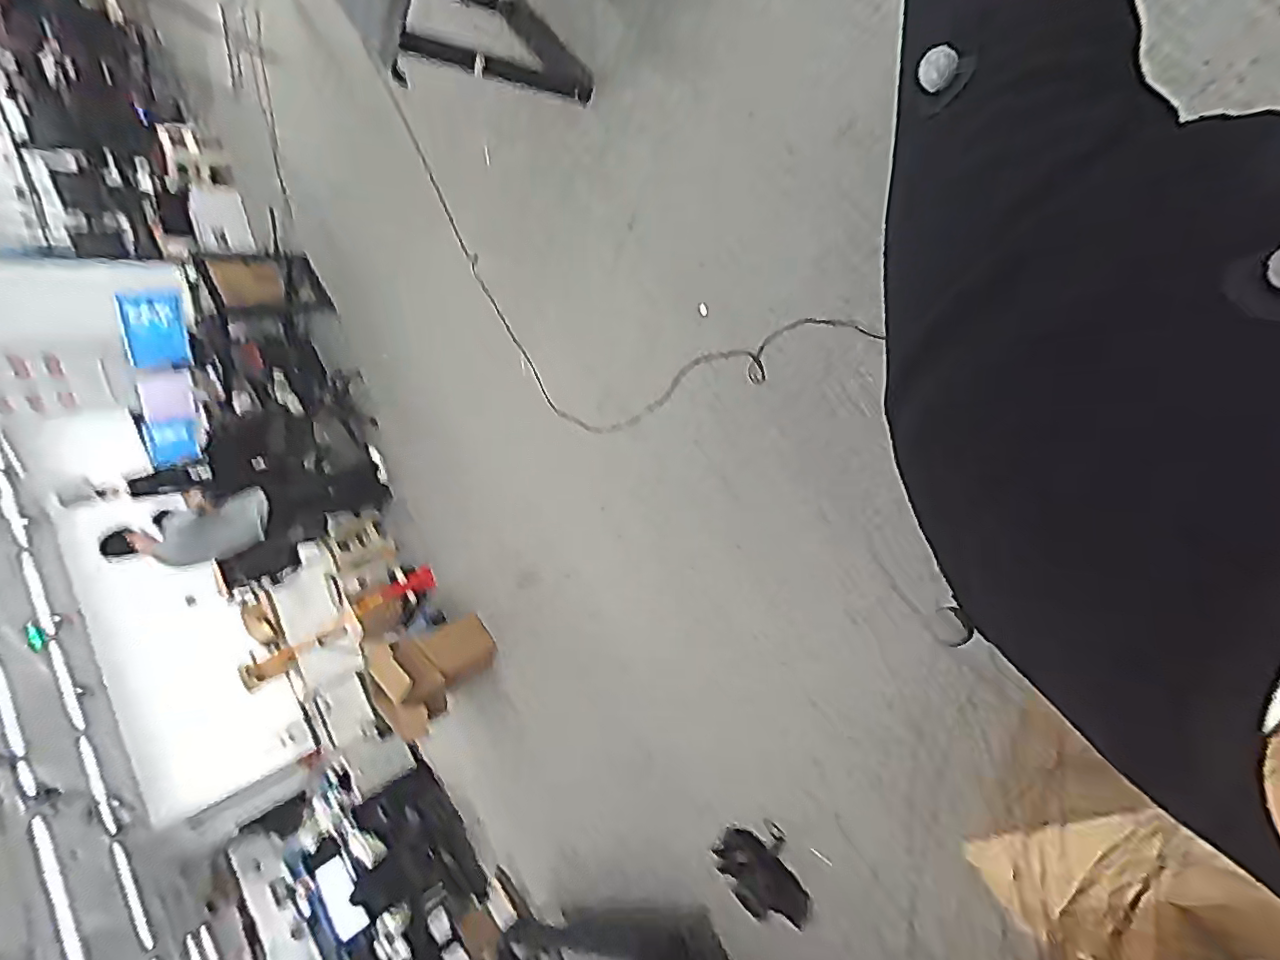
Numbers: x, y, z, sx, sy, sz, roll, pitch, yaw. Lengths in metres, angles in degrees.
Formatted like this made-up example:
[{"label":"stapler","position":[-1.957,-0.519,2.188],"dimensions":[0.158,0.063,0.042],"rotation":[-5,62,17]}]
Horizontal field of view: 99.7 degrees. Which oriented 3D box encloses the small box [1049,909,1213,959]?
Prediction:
[{"label":"small box","position":[0.674,0.708,0.713],"dimensions":[0.168,0.176,0.179],"rotation":[58,138,27]}]
